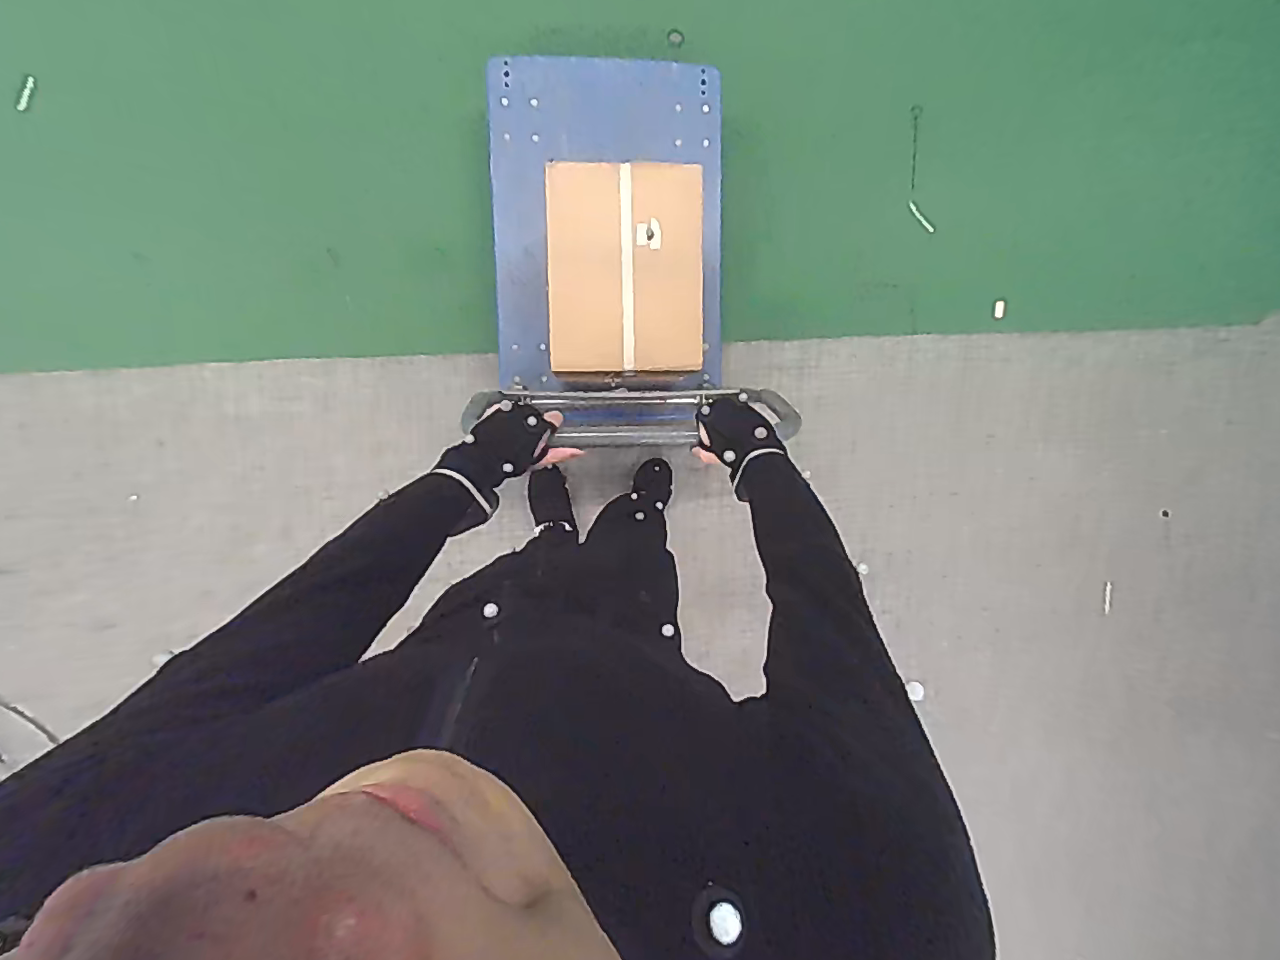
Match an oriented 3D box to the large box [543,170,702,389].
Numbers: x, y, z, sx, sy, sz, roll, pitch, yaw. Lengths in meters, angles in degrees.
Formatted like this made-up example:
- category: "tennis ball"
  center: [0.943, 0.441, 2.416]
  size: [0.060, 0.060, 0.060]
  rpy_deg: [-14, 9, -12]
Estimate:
- category: "large box"
  center: [-0.043, -0.426, 1.236]
  size: [0.320, 0.320, 0.408]
  rpy_deg: [-2, 95, -6]
